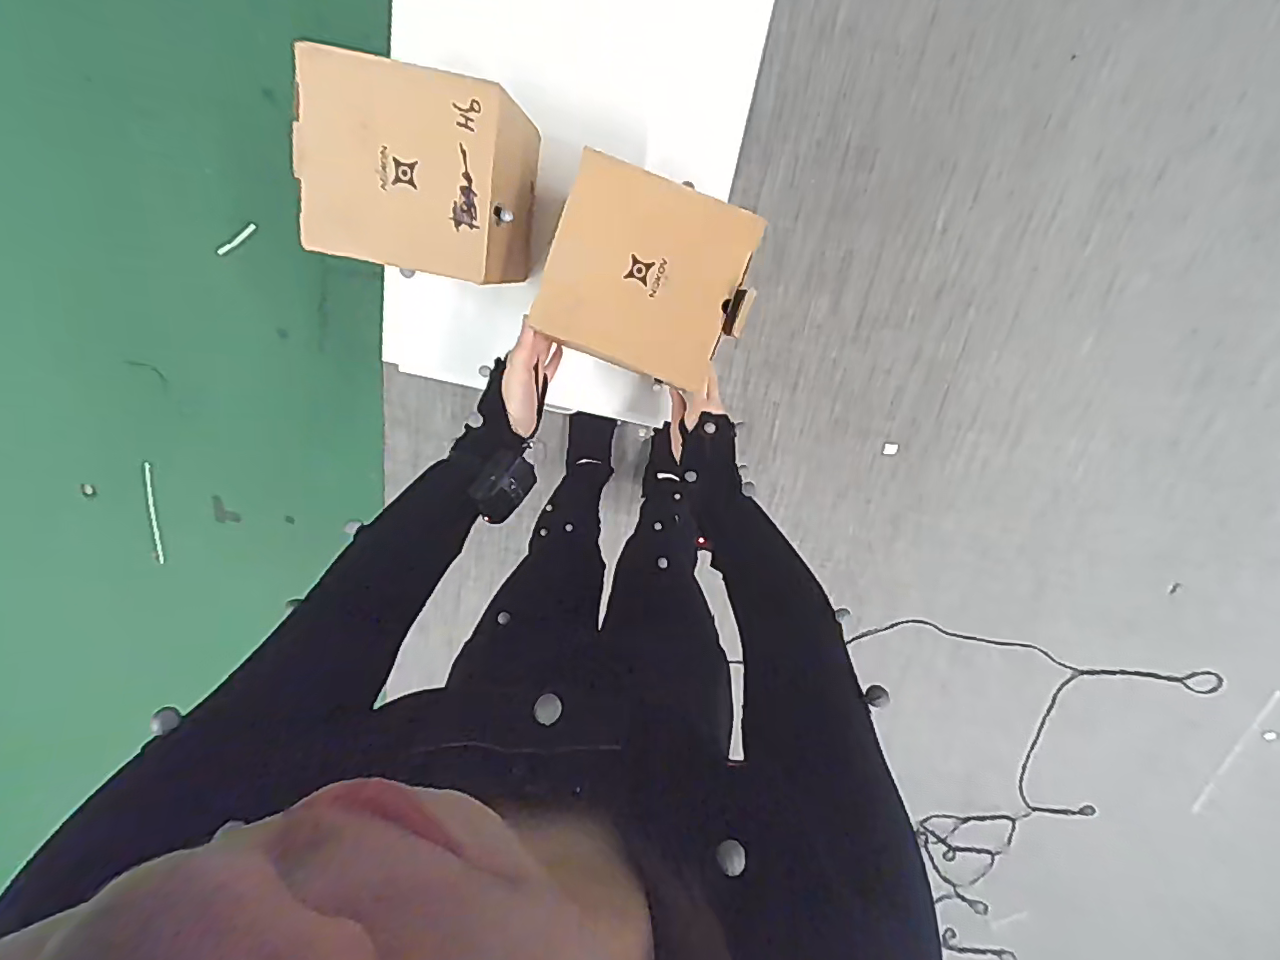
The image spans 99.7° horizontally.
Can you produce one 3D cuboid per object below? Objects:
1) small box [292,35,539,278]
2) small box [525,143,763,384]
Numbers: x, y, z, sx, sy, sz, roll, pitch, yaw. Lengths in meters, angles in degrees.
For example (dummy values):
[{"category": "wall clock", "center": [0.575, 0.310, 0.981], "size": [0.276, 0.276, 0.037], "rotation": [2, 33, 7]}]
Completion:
[{"category": "small box", "center": [-0.215, -0.308, 0.552], "size": [0.179, 0.176, 0.168], "rotation": [11, 112, -1]}, {"category": "small box", "center": [0.002, -0.205, 0.567], "size": [0.179, 0.176, 0.168], "rotation": [20, 100, -4]}]
